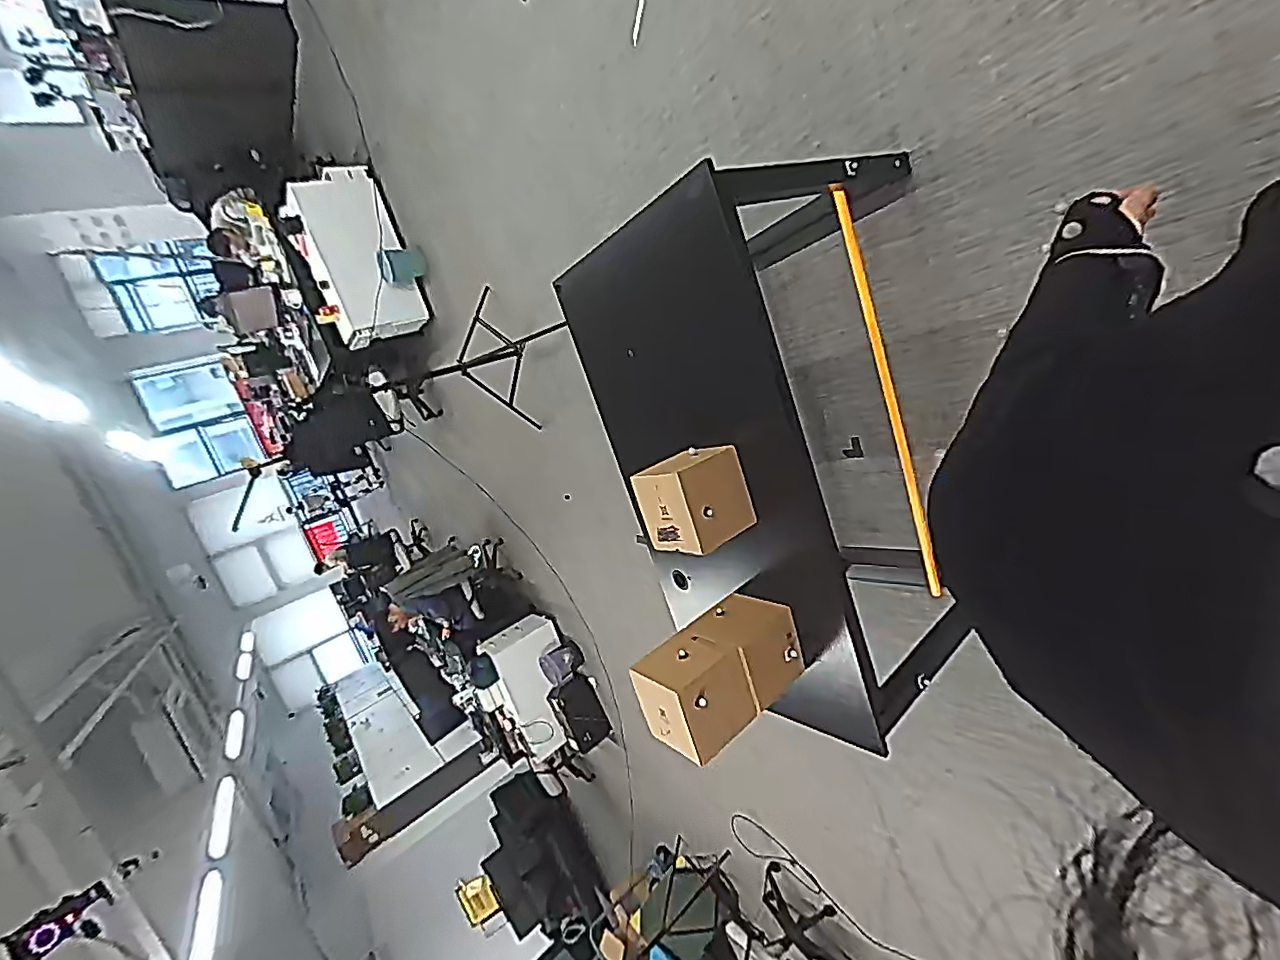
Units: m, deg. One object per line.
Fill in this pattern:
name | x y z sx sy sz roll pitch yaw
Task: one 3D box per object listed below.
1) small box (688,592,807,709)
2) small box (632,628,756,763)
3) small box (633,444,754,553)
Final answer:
small box | 0.243 0.371 1.215 0.179 0.176 0.168 0 113 54
small box | 0.115 0.437 1.133 0.168 0.176 0.179 1 114 55
small box | 0.119 0.036 1.154 0.168 0.176 0.179 -3 109 56
